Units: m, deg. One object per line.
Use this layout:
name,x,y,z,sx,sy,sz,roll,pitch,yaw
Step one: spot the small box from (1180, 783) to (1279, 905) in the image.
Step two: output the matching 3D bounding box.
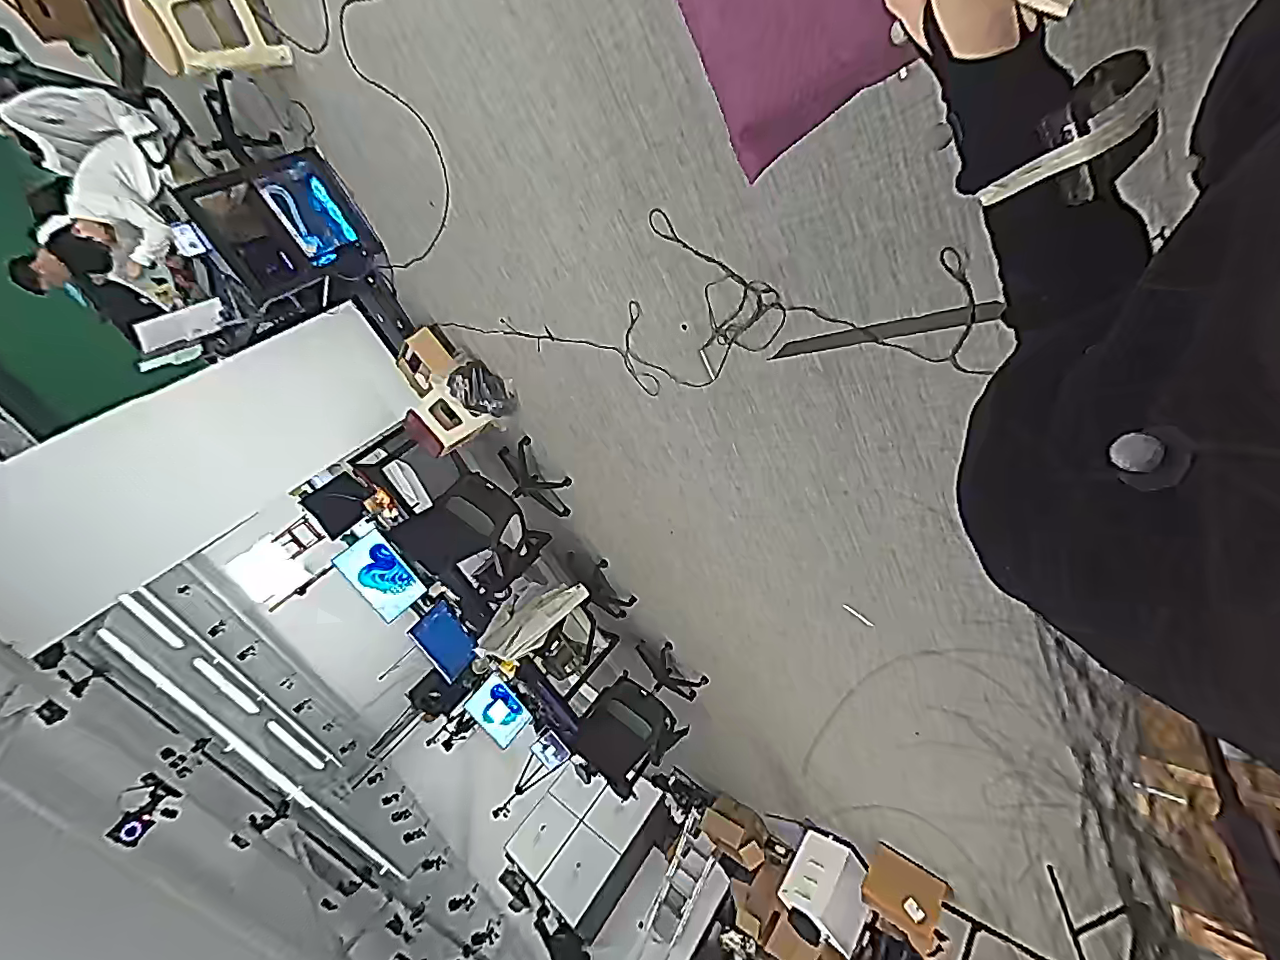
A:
small box,1.532,0.933,1.403,0.168,0.176,0.179,-2,126,52
